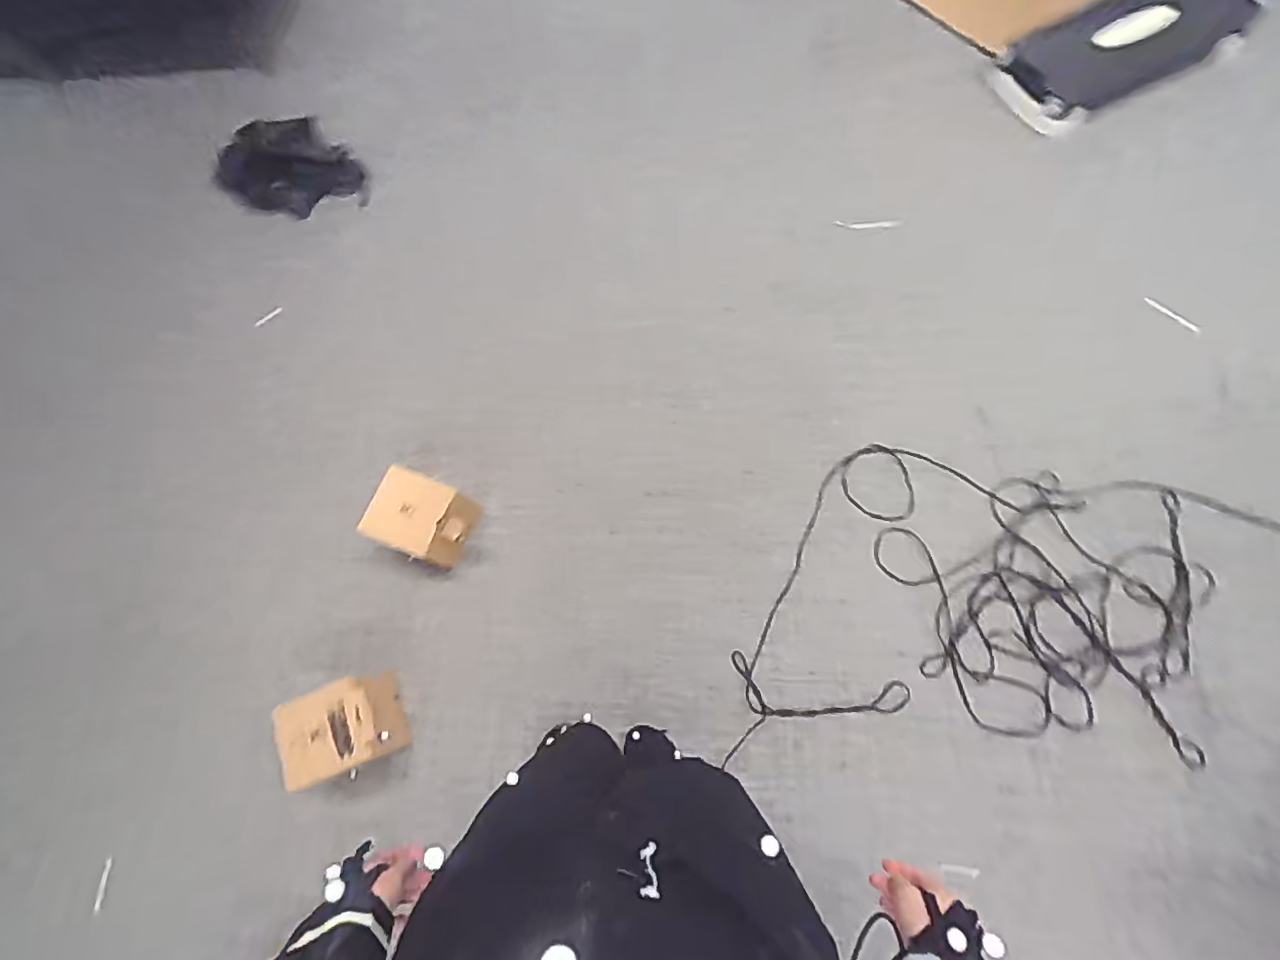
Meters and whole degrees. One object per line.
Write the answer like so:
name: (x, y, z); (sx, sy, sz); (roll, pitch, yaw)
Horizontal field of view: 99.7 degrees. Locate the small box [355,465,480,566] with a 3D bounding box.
small box: (-0.507, 0.089, 1.257); (0.179, 0.176, 0.168); (19, 75, 10)
